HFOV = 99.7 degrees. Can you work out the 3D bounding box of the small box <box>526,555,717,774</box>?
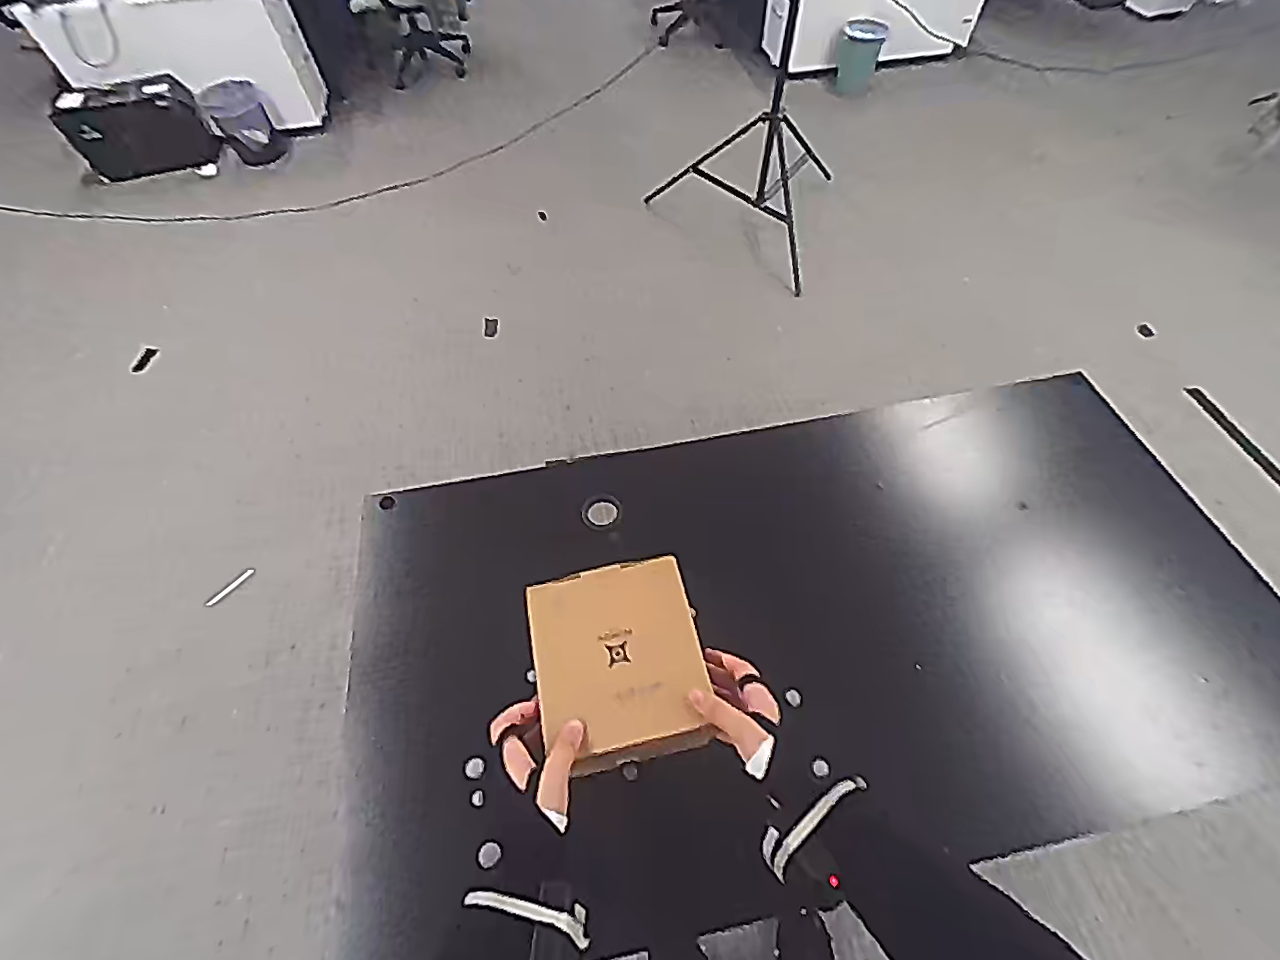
[{"bbox_3d":[-0.023,0.212,0.609,0.168,0.176,0.179,-13,59,-5],"label":"small box"}]
